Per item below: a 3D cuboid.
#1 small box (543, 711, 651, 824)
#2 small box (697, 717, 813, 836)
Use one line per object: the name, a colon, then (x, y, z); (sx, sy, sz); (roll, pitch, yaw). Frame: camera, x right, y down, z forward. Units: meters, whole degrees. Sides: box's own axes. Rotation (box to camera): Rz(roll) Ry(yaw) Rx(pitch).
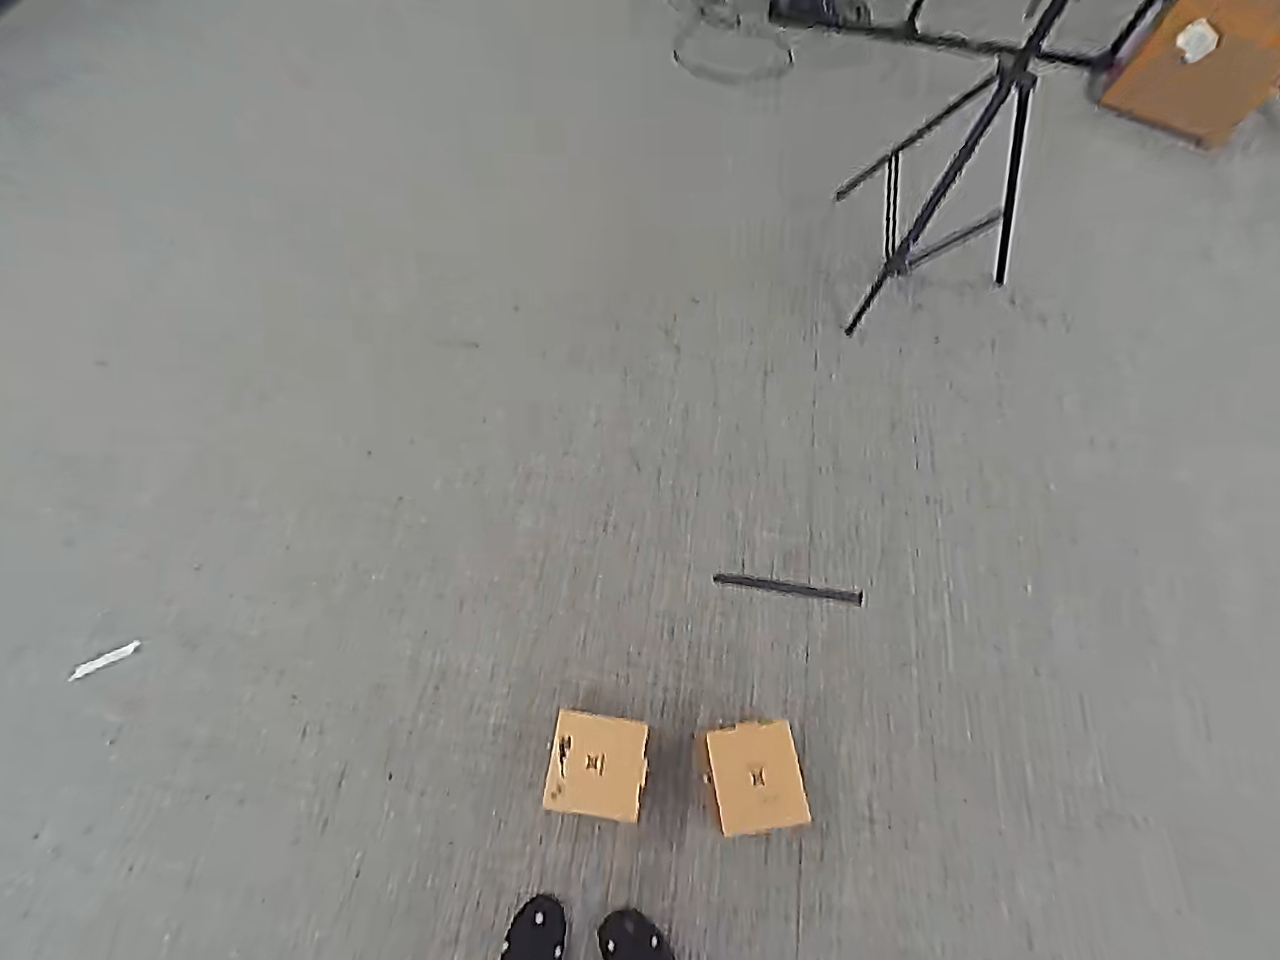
small box: (-0.081, 0.557, 1.066); (0.179, 0.176, 0.168); (9, 65, 1)
small box: (0.216, 0.578, 1.071); (0.168, 0.176, 0.179); (-8, 67, -5)
